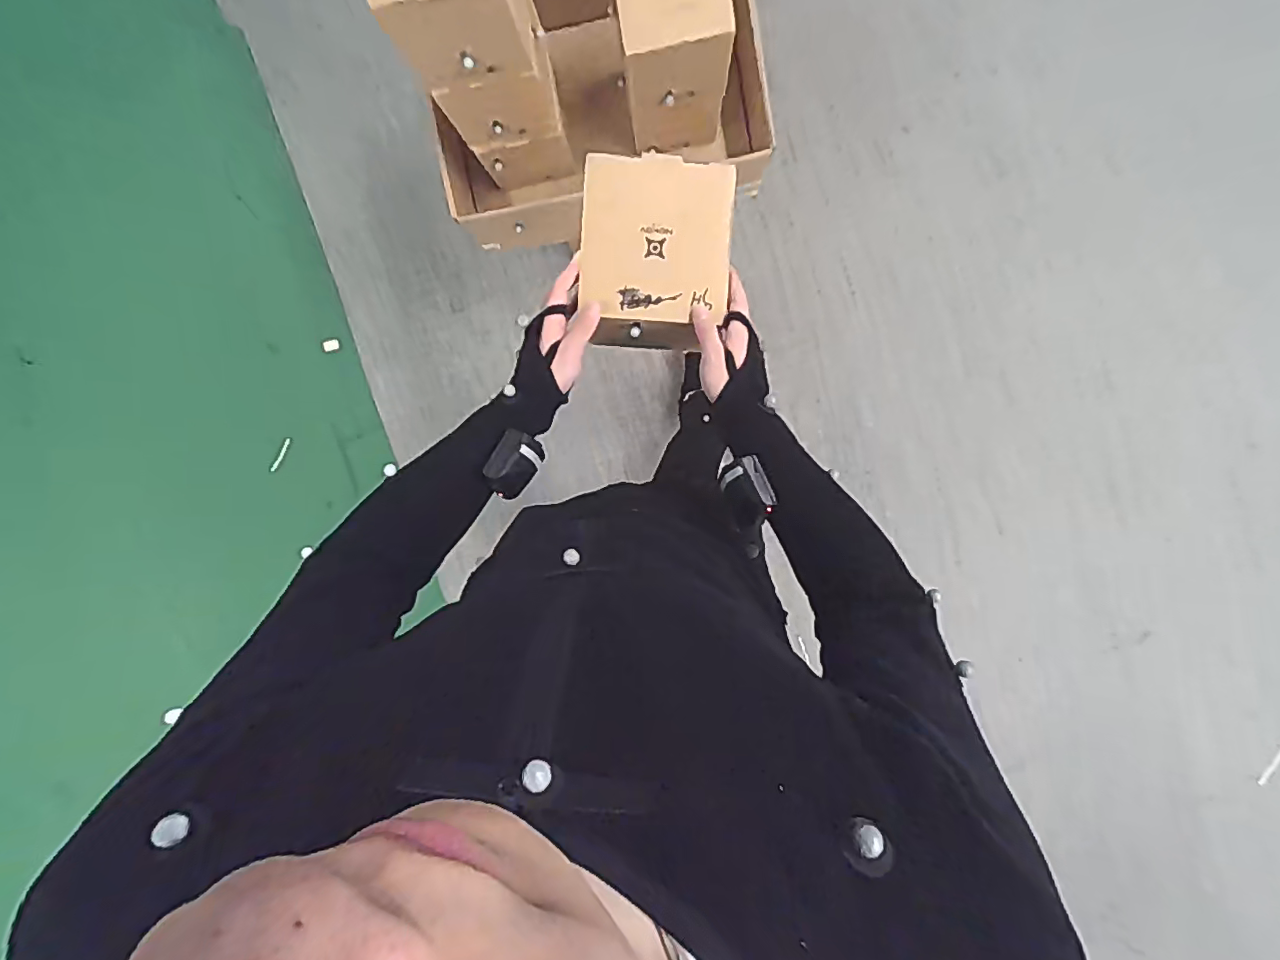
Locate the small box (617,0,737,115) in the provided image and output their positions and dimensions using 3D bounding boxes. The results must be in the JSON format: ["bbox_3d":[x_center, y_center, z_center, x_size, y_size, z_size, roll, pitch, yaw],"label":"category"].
[{"bbox_3d":[0.052,-0.725,0.853,0.168,0.176,0.179,-9,96,5],"label":"small box"}]

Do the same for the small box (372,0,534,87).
[{"bbox_3d":[-0.248,-0.669,0.710,0.168,0.176,0.179,-7,96,4],"label":"small box"}]

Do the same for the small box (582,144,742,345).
[{"bbox_3d":[0.021,-0.275,0.667,0.168,0.176,0.179,4,95,-1],"label":"small box"}]

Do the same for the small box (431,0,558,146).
[{"bbox_3d":[-0.239,-0.683,0.875,0.168,0.176,0.179,-9,96,3],"label":"small box"}]

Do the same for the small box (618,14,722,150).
[{"bbox_3d":[0.059,-0.748,1.015,0.168,0.176,0.179,-8,95,4],"label":"small box"}]
